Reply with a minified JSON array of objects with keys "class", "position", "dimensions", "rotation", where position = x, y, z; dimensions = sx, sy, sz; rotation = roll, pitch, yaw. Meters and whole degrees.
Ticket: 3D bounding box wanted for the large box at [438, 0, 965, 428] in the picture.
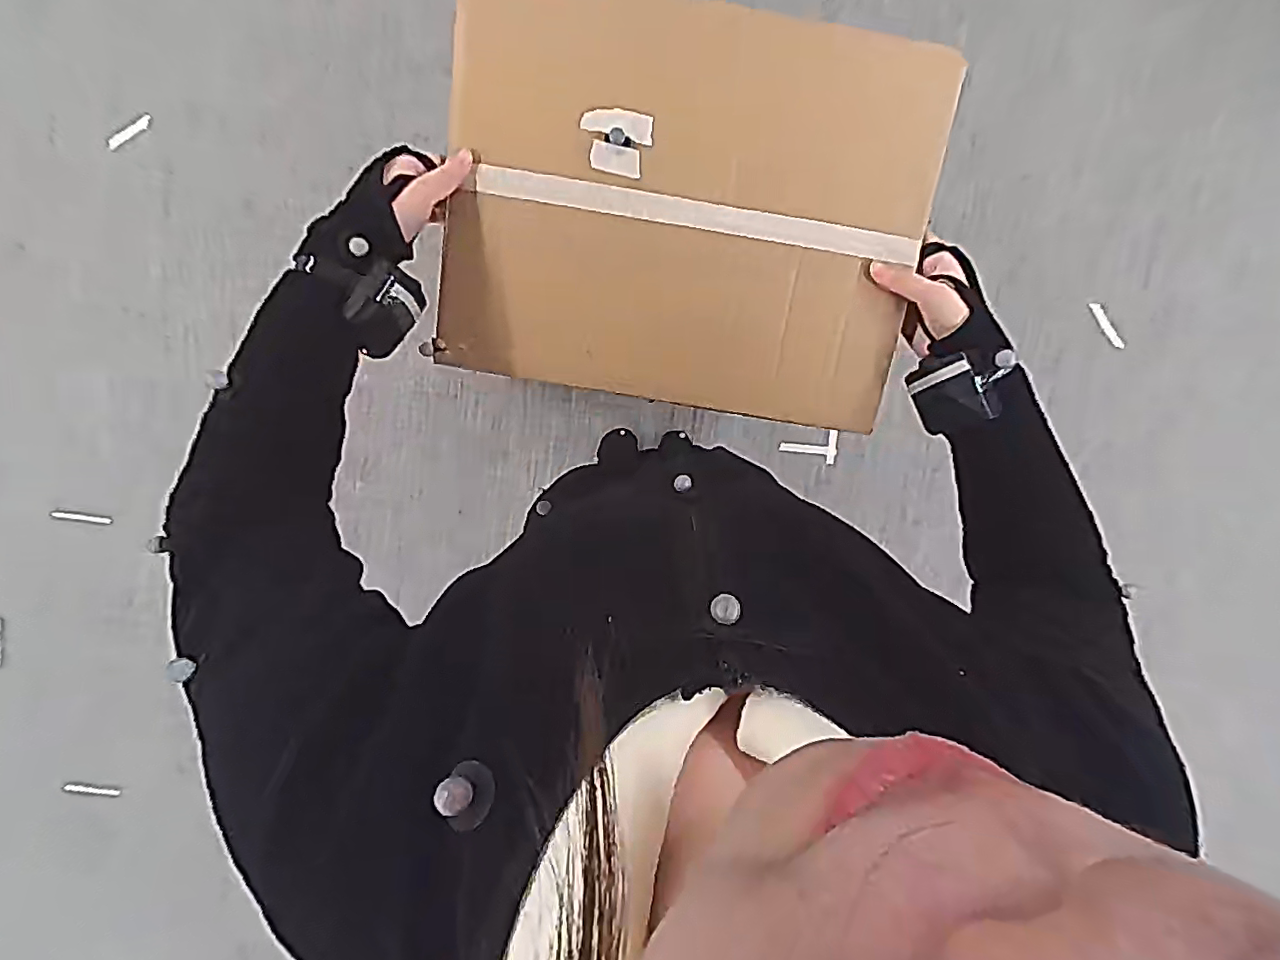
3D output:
[{"class":"large box","position":[0.041,-0.256,0.595],"dimensions":[0.408,0.320,0.320],"rotation":[9,103,-1]}]
